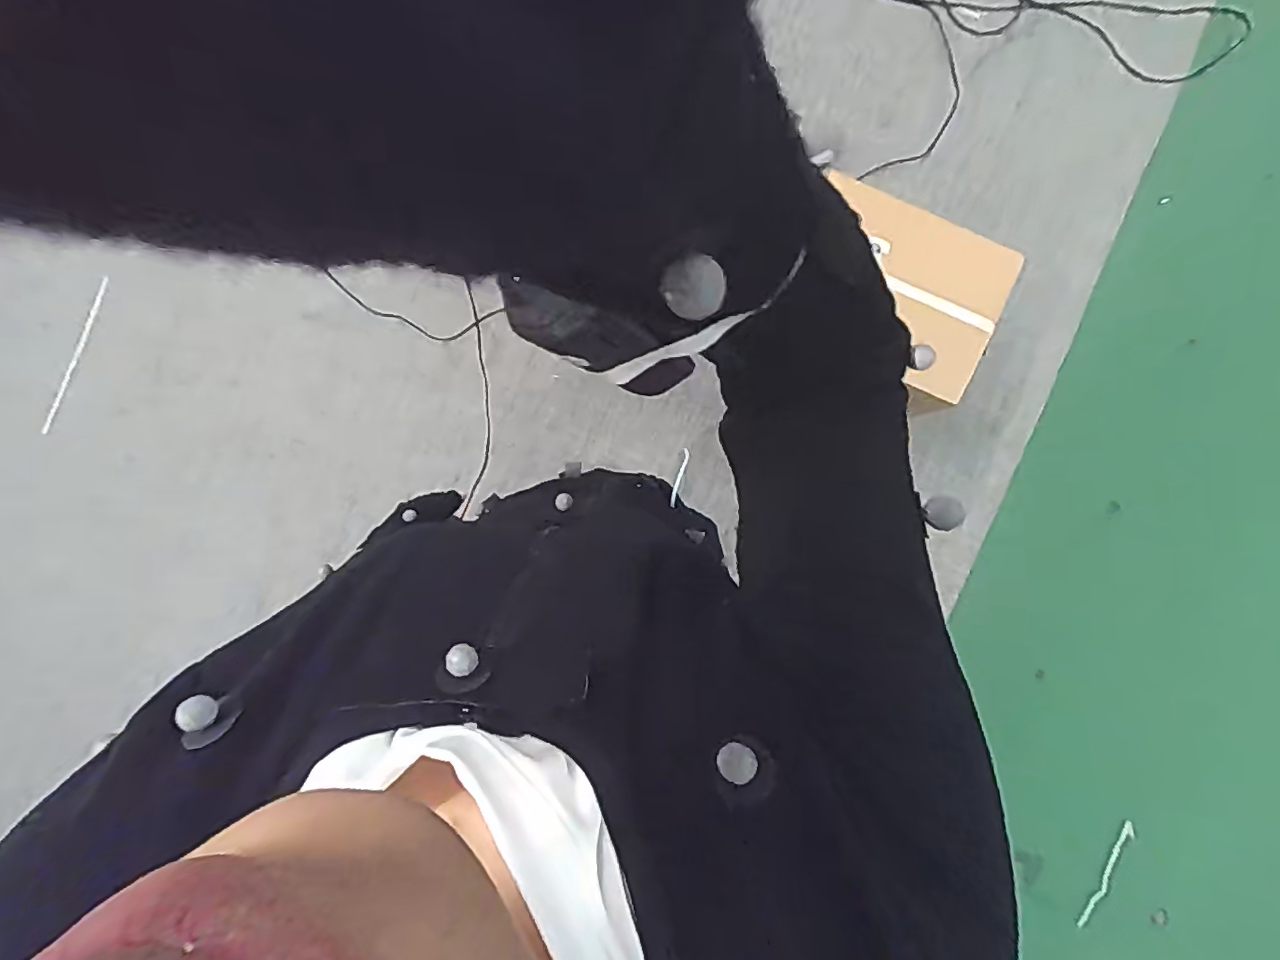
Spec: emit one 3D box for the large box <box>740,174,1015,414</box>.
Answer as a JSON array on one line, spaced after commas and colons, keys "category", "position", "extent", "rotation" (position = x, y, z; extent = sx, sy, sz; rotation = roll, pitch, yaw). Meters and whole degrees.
[{"category": "large box", "position": [0.481, -0.372, 1.184], "extent": [0.408, 0.320, 0.320], "rotation": [25, 90, 2]}]
